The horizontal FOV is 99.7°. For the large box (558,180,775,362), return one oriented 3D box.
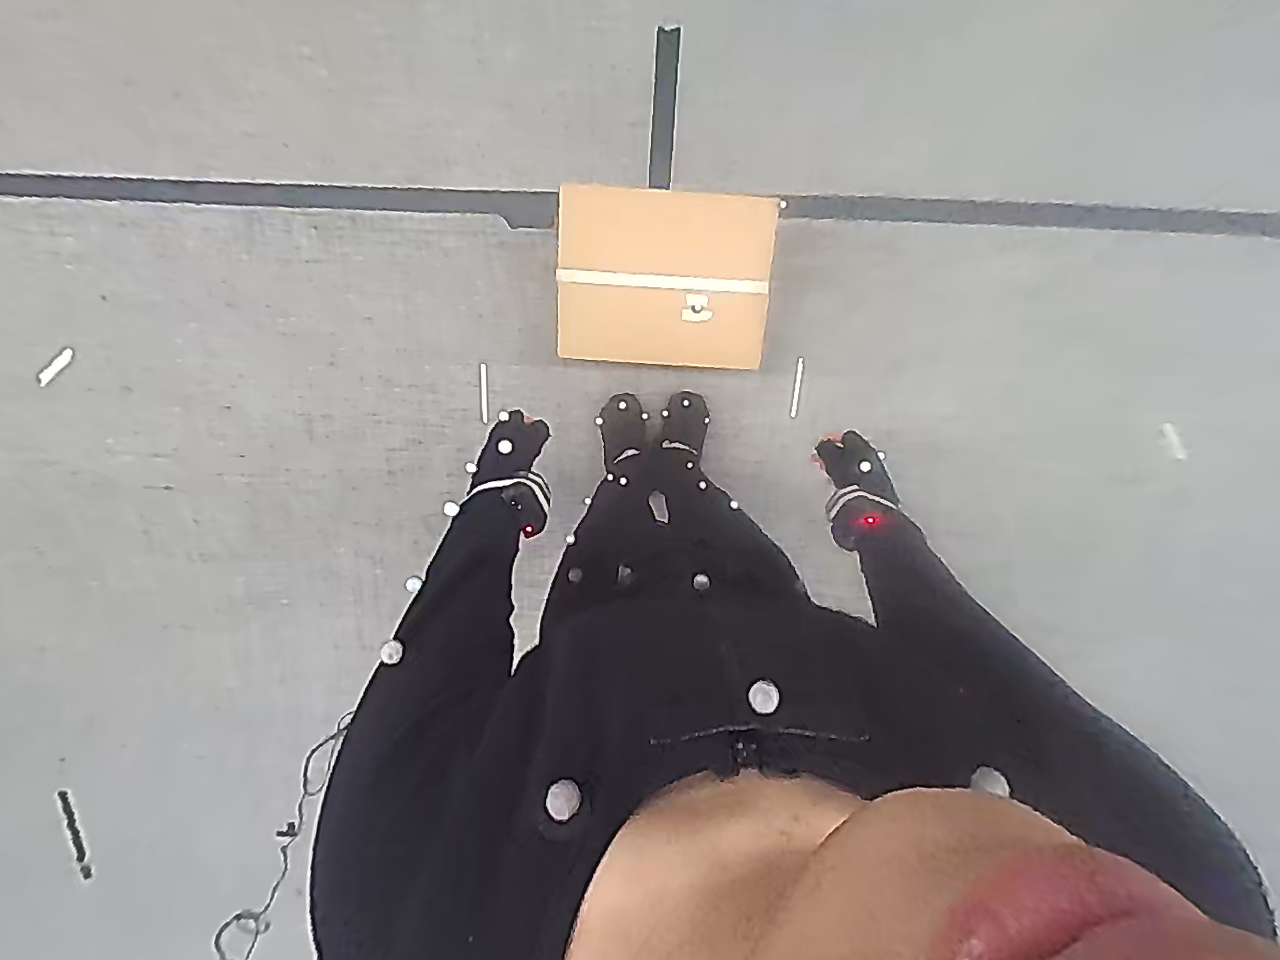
[{"bbox_3d":[0.039,-0.433,1.168,0.408,0.320,0.320,3,108,-2],"label":"large box"}]
